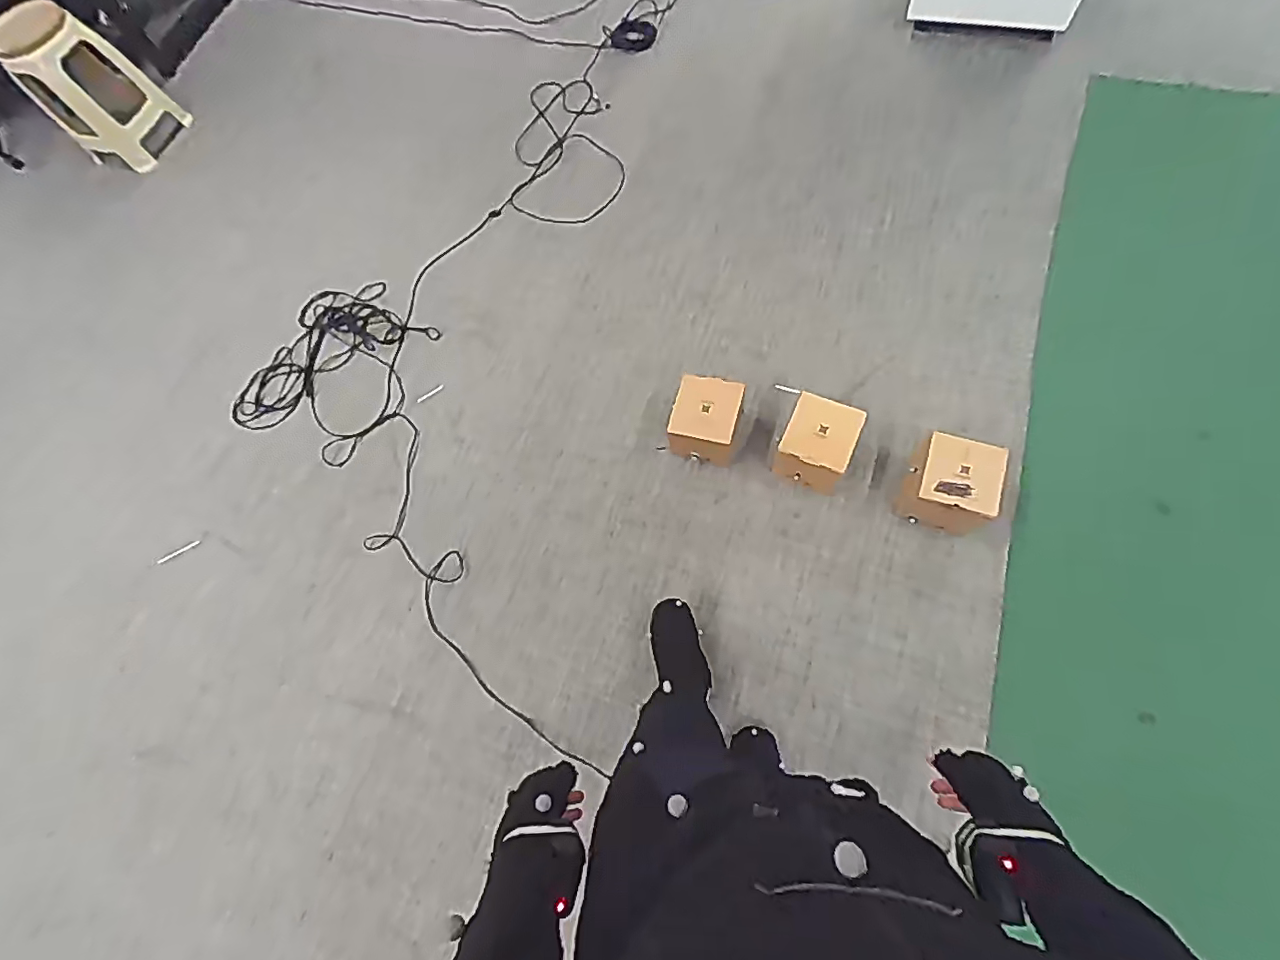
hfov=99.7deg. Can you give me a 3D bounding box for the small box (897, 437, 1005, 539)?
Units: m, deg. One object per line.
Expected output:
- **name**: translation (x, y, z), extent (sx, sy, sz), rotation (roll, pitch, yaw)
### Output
- **small box**: translation (0.743, 0.026, 1.308), extent (0.168, 0.176, 0.179), rotation (17, 72, 14)

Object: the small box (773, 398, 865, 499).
- **small box**: translation (0.451, -0.077, 1.389), extent (0.168, 0.176, 0.179), rotation (22, 75, 15)

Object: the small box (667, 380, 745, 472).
- **small box**: translation (0.181, -0.142, 1.452), extent (0.168, 0.176, 0.179), rotation (12, 73, 14)
